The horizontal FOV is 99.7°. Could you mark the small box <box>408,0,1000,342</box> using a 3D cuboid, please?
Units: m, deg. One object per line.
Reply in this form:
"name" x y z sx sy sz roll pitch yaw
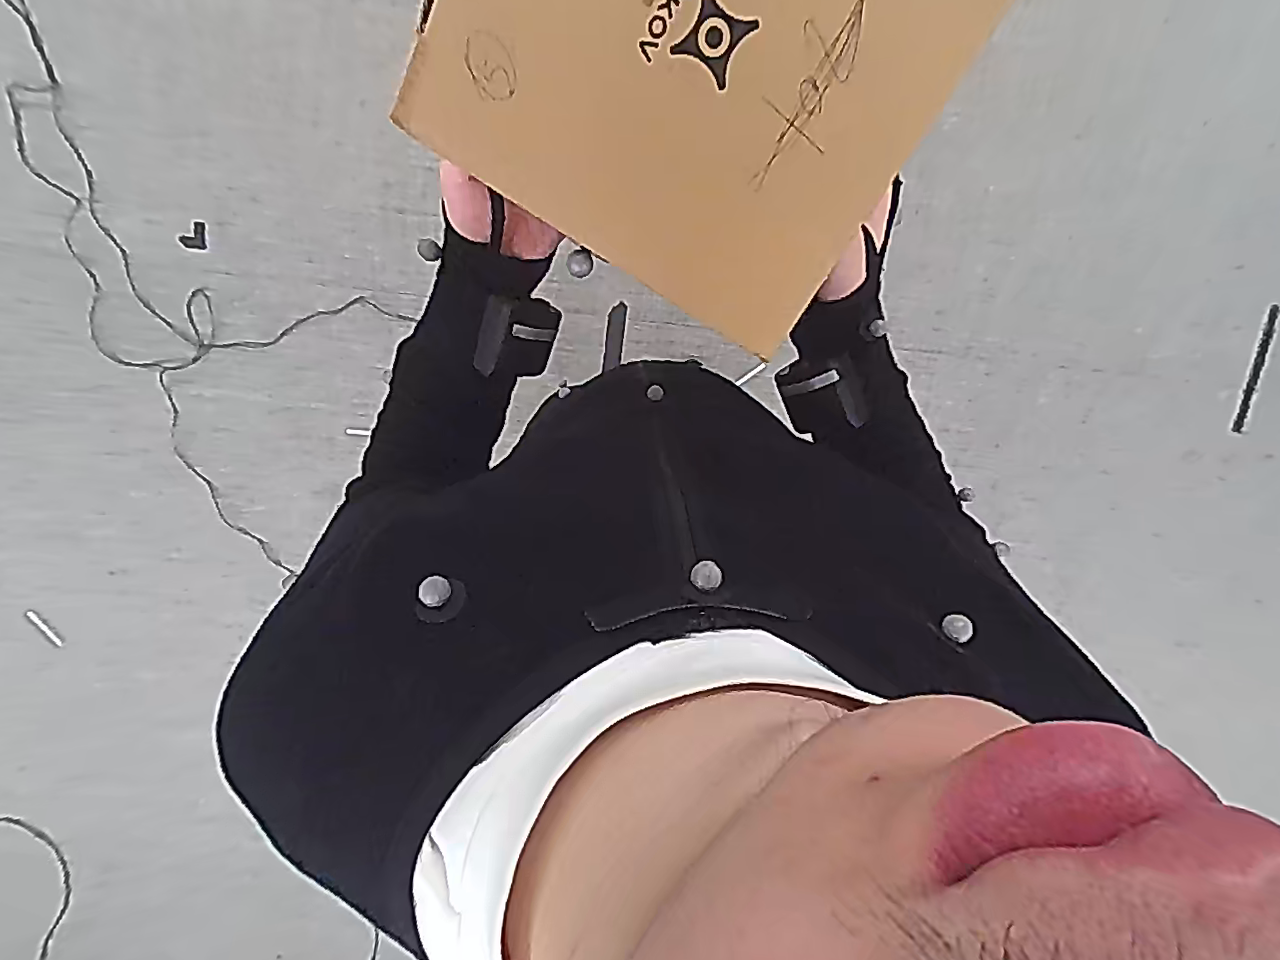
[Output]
"small box" 0.023 -0.194 0.273 0.179 0.176 0.168 28 111 -12
